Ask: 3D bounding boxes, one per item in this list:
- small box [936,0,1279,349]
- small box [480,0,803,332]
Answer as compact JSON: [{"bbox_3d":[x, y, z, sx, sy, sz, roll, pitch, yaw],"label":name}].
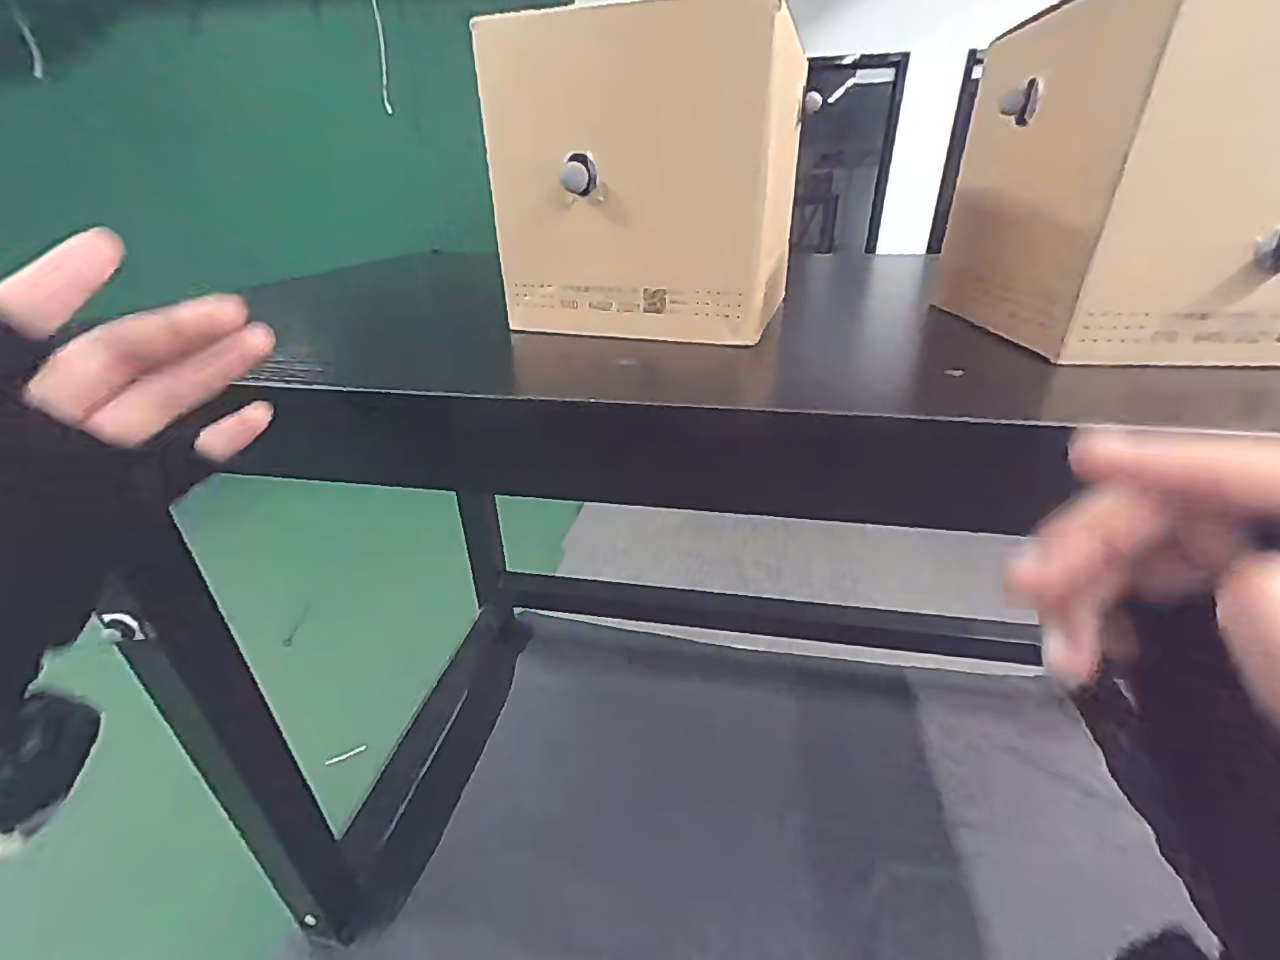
[{"bbox_3d":[0.302,-0.180,0.317,0.168,0.176,0.179,1,28,6],"label":"small box"},{"bbox_3d":[0.017,-0.207,0.382,0.168,0.176,0.179,8,29,17],"label":"small box"}]
